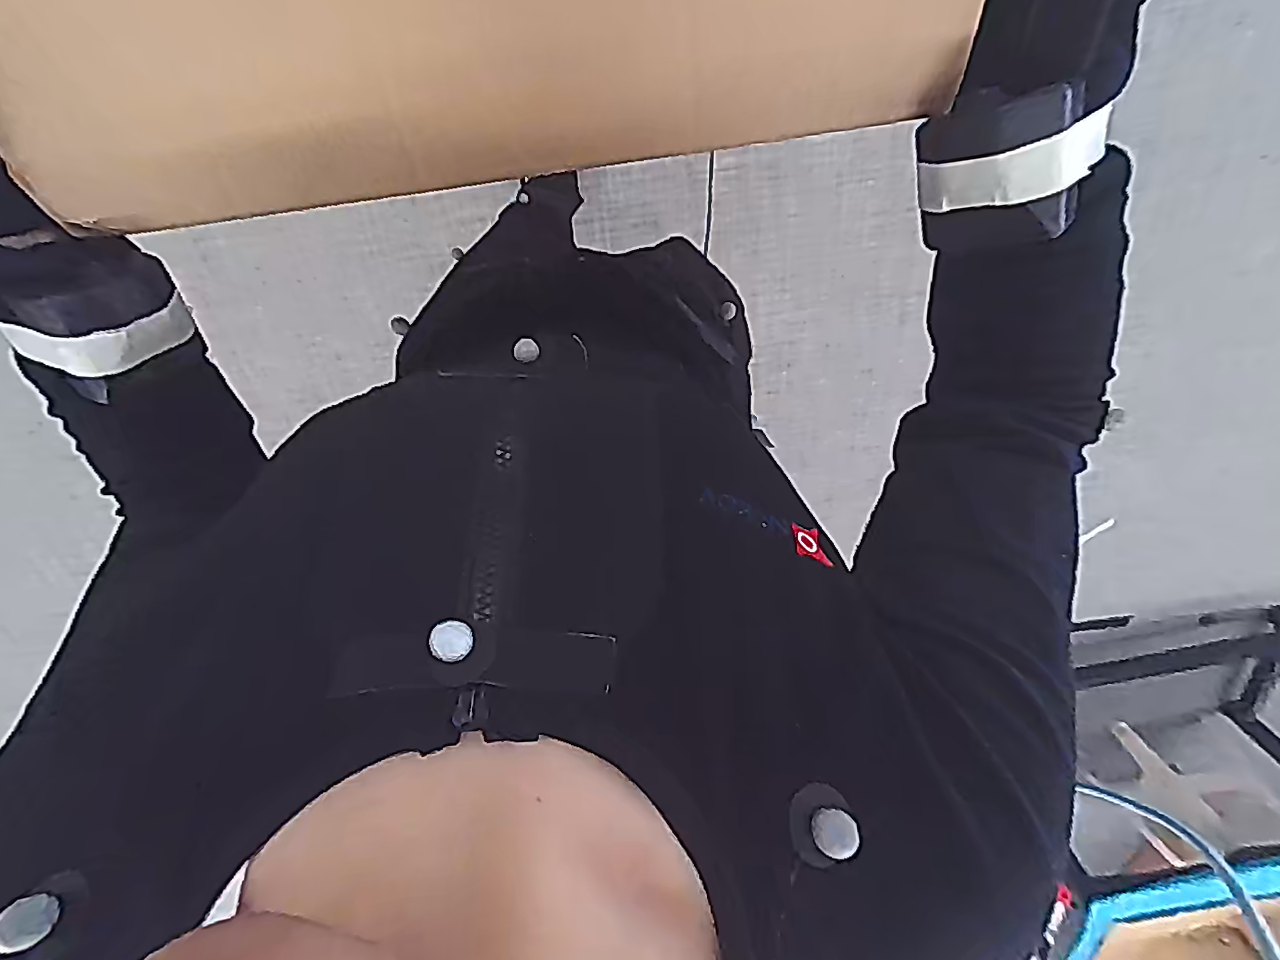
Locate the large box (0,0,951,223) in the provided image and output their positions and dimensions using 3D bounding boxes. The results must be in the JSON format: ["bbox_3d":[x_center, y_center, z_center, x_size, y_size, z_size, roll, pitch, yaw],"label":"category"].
[{"bbox_3d":[-0.091,-0.360,0.228,0.408,0.320,0.320,-8,140,1],"label":"large box"}]
